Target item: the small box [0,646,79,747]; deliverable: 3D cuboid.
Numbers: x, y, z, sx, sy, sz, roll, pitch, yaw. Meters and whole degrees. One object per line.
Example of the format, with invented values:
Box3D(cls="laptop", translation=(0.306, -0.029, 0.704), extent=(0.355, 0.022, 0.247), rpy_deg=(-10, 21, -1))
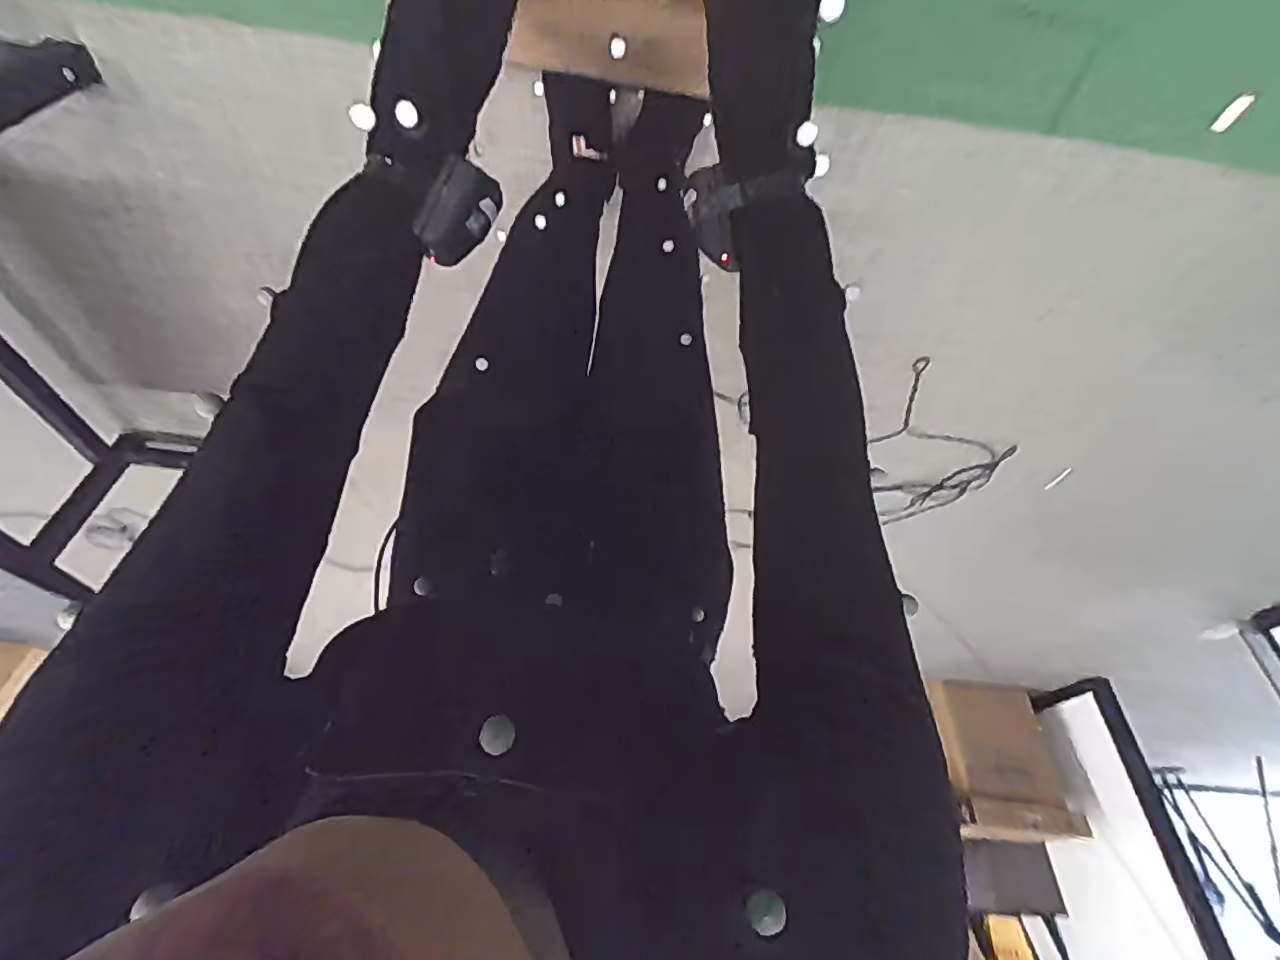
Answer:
Box3D(cls="small box", translation=(-1.407, 0.462, 1.170), extent=(0.179, 0.176, 0.168), rpy_deg=(7, 142, -4))
